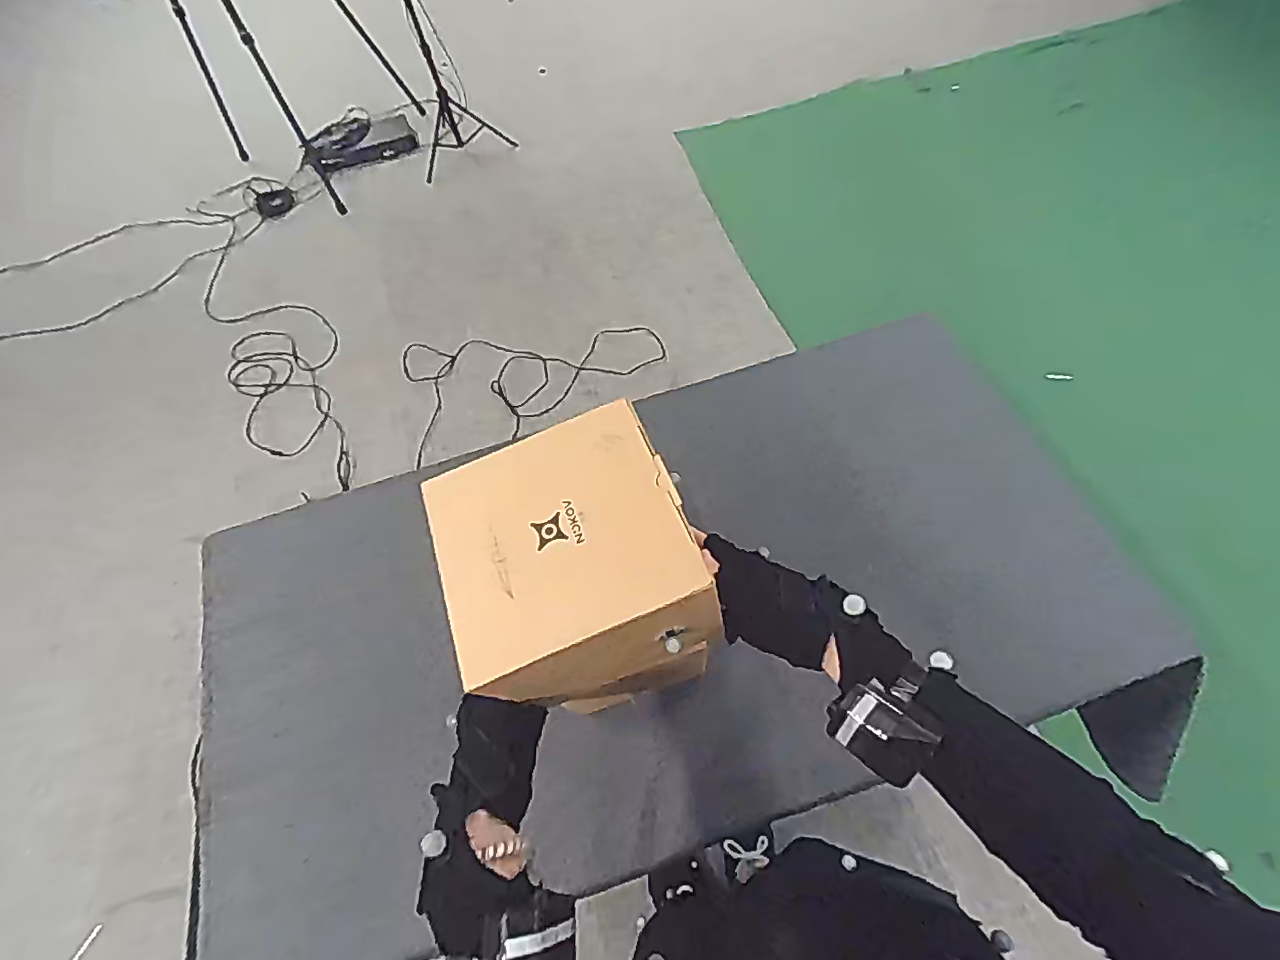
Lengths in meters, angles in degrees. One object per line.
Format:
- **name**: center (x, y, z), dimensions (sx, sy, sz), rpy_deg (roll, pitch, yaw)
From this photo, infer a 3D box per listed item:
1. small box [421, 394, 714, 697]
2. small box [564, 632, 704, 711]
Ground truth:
- **small box**: center (-0.048, 0.065, 0.449), dimensions (0.179, 0.176, 0.168), rpy_deg (-23, 62, -1)
- **small box**: center (-0.030, 0.158, 0.648), dimensions (0.168, 0.176, 0.179), rpy_deg (-17, 61, -4)
